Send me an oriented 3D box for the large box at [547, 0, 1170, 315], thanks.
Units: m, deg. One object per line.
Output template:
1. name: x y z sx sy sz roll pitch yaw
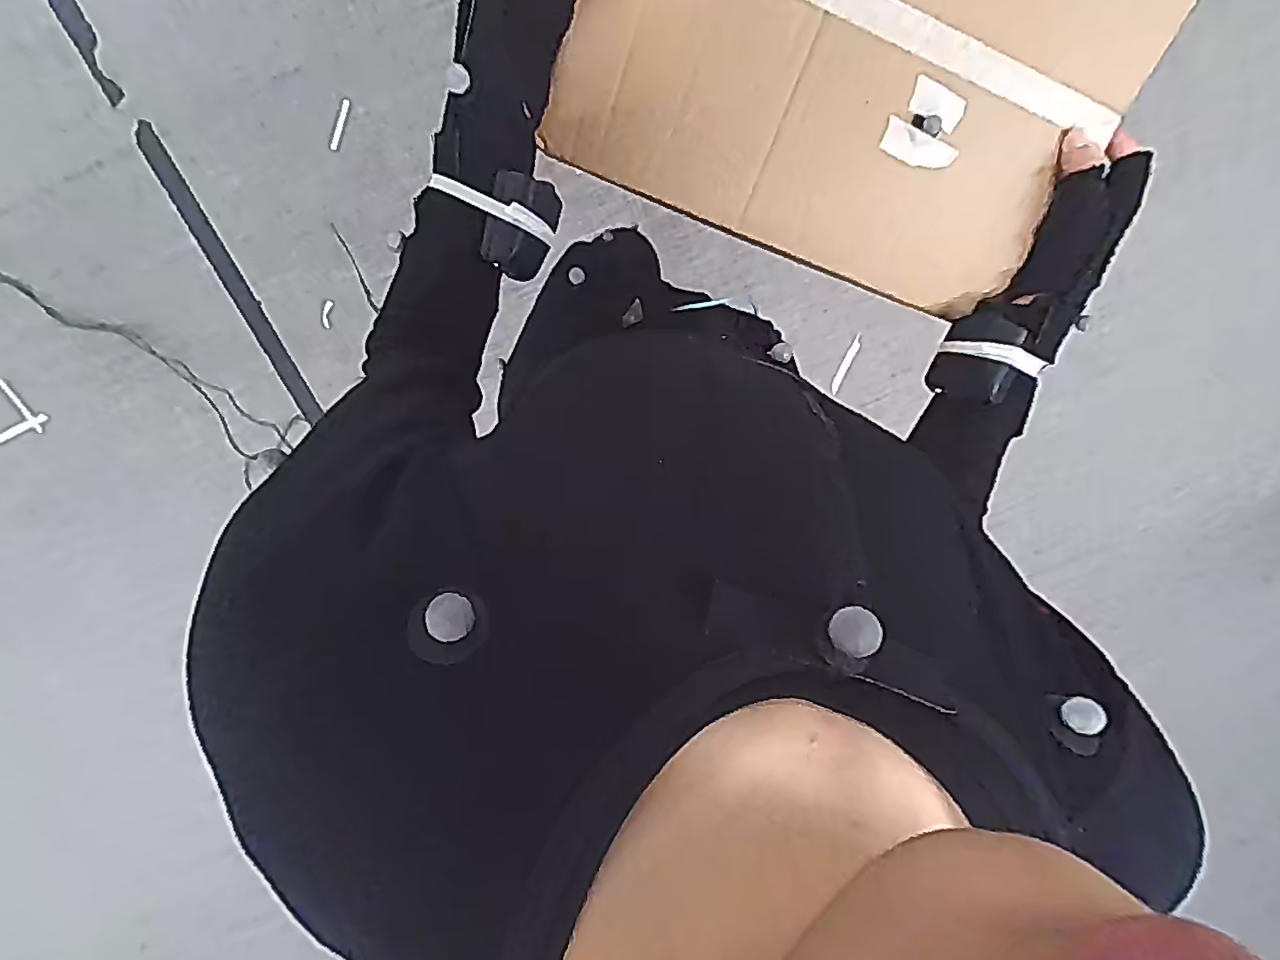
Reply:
1. large box: 0.155 -0.398 0.515 0.408 0.320 0.320 17 118 -12
